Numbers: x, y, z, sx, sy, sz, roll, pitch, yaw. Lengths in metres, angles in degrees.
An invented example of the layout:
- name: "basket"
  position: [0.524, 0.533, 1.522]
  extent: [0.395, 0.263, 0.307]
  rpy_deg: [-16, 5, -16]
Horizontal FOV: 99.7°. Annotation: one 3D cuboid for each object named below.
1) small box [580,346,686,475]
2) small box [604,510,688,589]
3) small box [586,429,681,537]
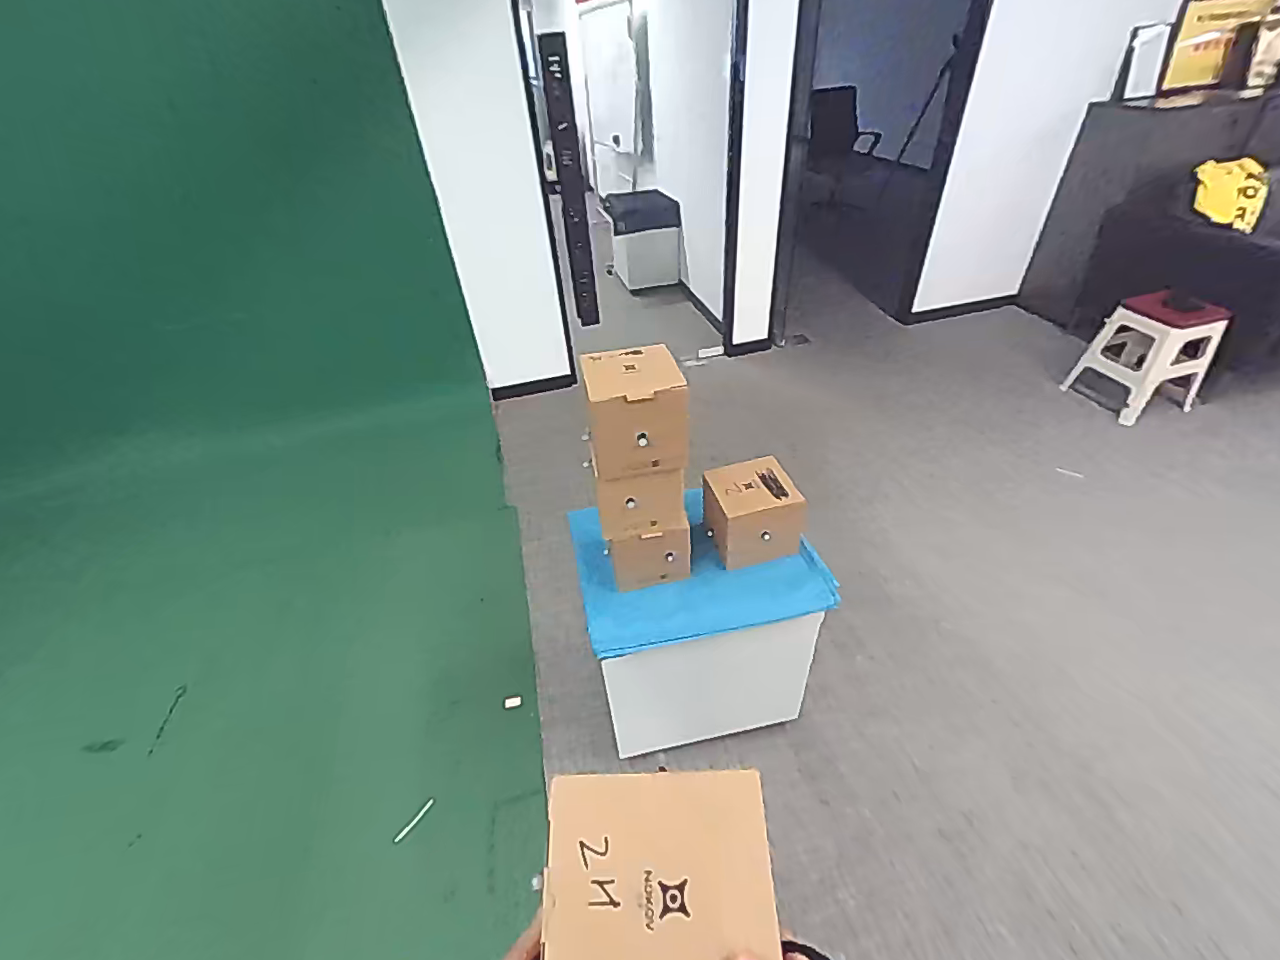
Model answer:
- name: "small box"
  position: [-0.013, -0.122, 0.986]
  extent: [0.168, 0.176, 0.179]
  rpy_deg: [-9, 39, -7]
- name: "small box"
  position: [0.008, 0.125, 1.198]
  extent: [0.168, 0.176, 0.179]
  rpy_deg: [-9, 38, -8]
- name: "small box"
  position: [-0.012, 0.001, 1.095]
  extent: [0.168, 0.176, 0.179]
  rpy_deg: [-8, 38, -7]
